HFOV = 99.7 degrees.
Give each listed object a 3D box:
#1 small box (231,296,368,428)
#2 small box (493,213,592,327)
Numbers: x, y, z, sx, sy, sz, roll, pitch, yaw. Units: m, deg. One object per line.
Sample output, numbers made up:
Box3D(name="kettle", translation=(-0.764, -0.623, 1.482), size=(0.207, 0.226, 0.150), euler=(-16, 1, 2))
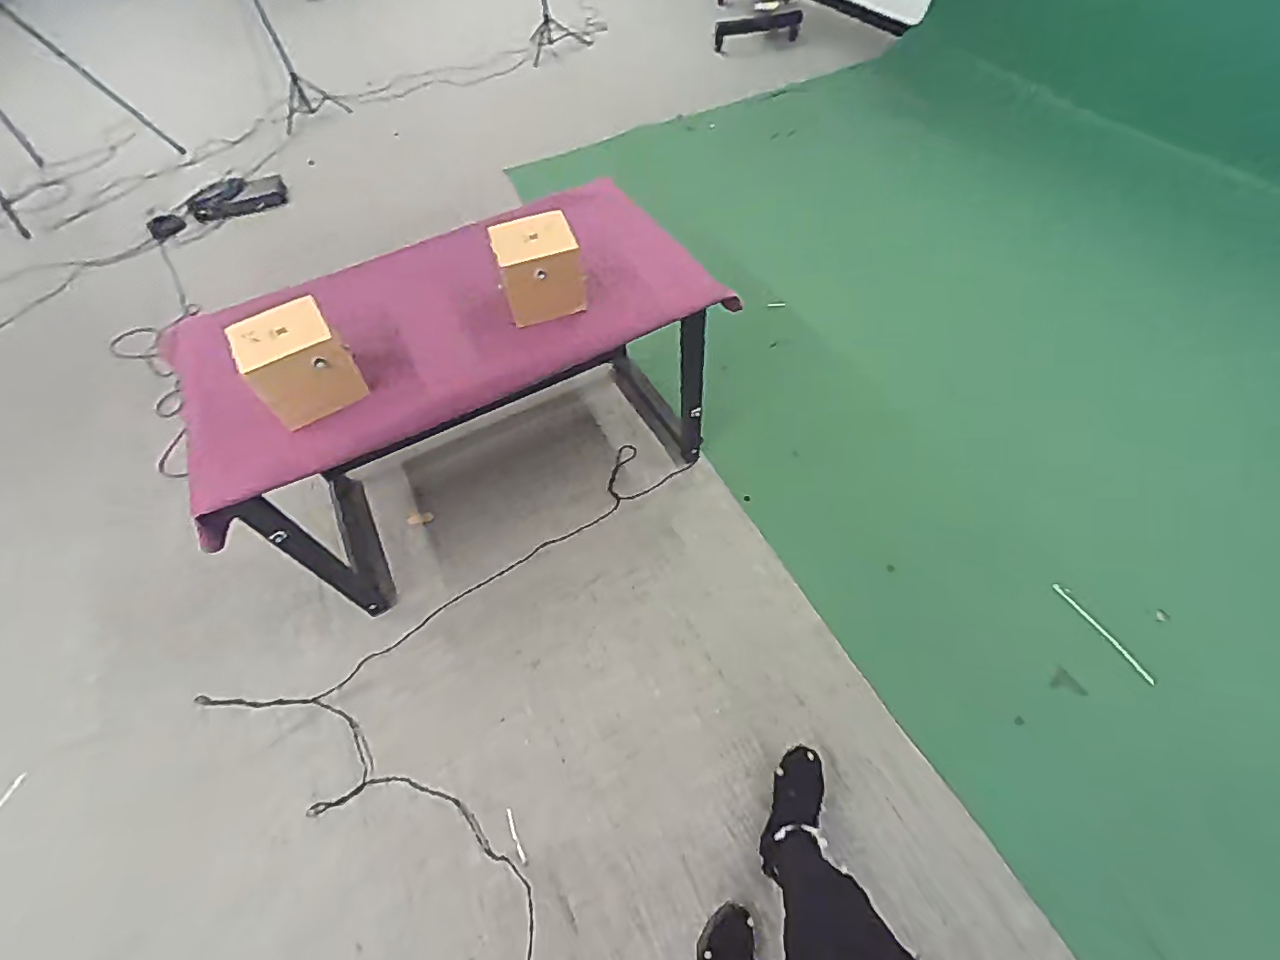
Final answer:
Box3D(name="small box", translation=(-0.696, -0.242, 1.125), size=(0.179, 0.176, 0.168), euler=(-30, 59, -15))
Box3D(name="small box", translation=(-0.223, -0.481, 1.254), size=(0.179, 0.176, 0.168), euler=(-16, 57, -7))
